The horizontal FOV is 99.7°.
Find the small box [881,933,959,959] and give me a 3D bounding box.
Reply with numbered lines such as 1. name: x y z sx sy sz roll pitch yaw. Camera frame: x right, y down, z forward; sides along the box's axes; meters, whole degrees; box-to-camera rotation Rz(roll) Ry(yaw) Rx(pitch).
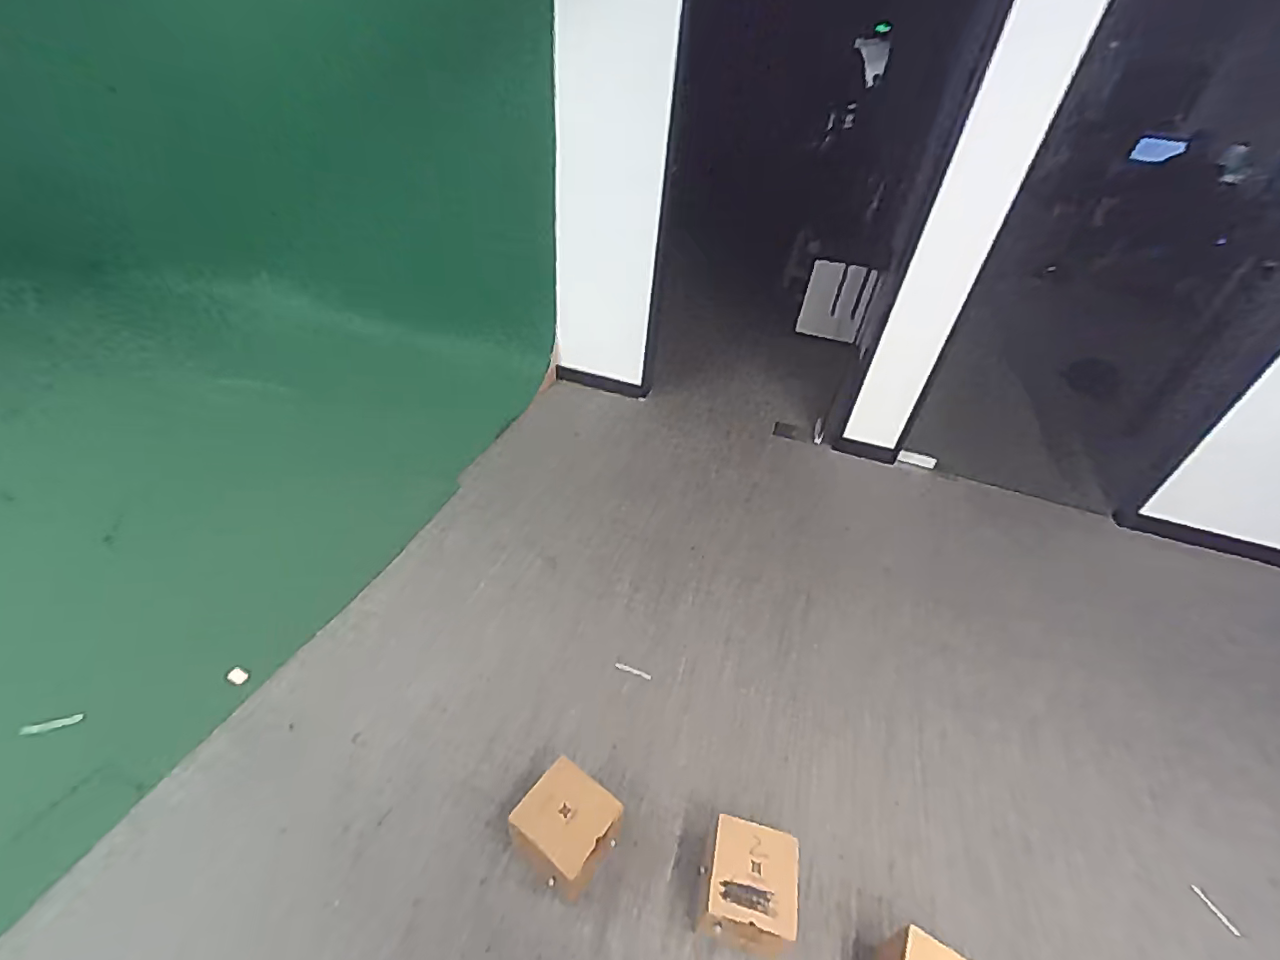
1. small box: 0.522 0.963 0.952 0.168 0.176 0.179 24 42 20

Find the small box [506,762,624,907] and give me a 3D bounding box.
1. small box: -0.154 0.741 1.125 0.179 0.176 0.168 26 41 25
